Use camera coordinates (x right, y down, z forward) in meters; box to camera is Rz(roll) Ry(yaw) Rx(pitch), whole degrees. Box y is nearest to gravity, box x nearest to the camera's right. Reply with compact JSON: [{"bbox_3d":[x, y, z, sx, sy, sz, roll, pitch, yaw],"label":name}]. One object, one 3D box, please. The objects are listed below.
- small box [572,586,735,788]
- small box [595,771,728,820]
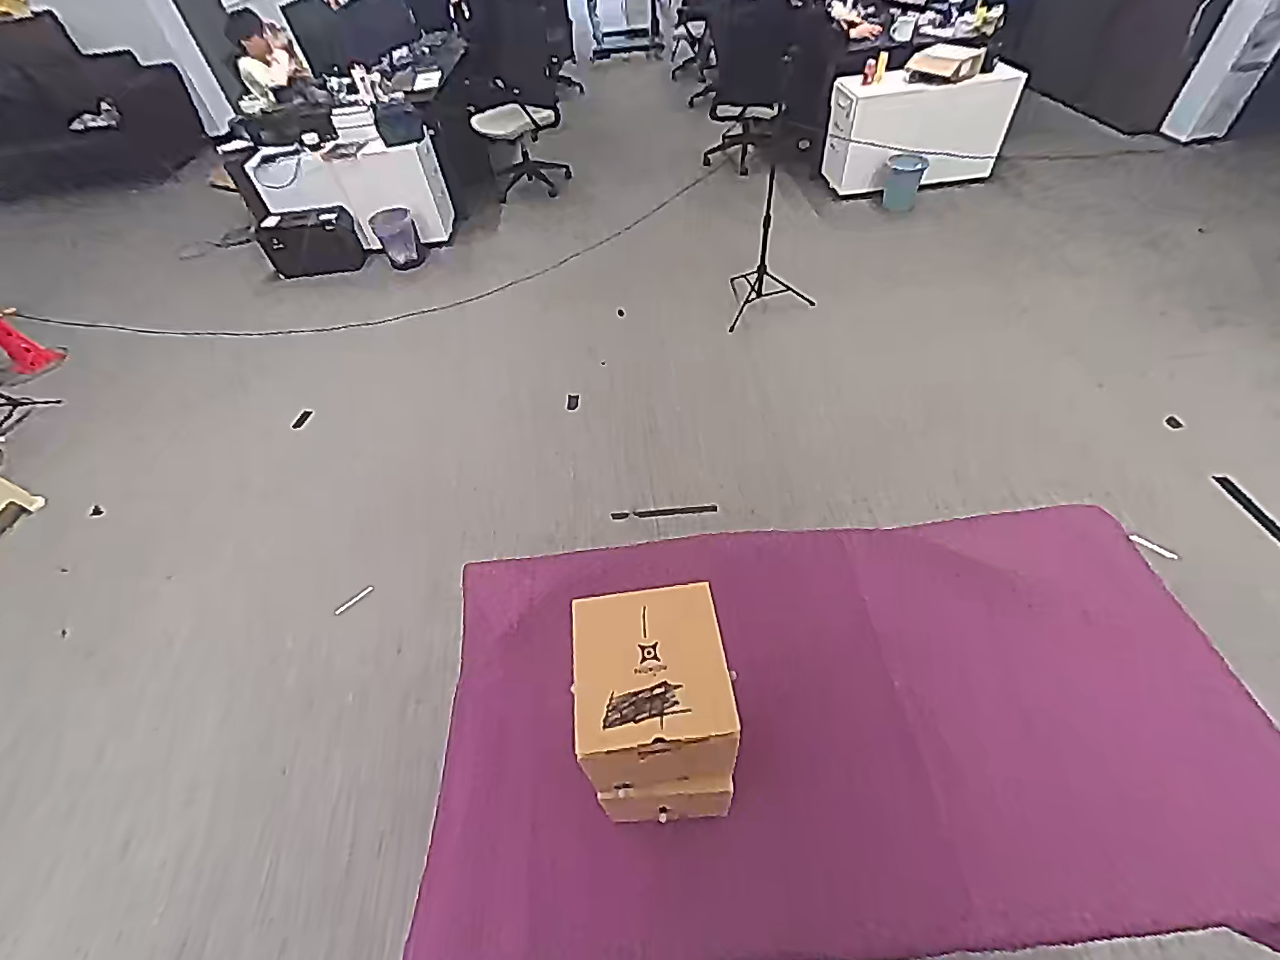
[{"bbox_3d":[0.014,0.252,0.646,0.168,0.176,0.179,-7,48,-1],"label":"small box"},{"bbox_3d":[0.031,0.368,0.762,0.168,0.176,0.179,-4,49,2],"label":"small box"}]
